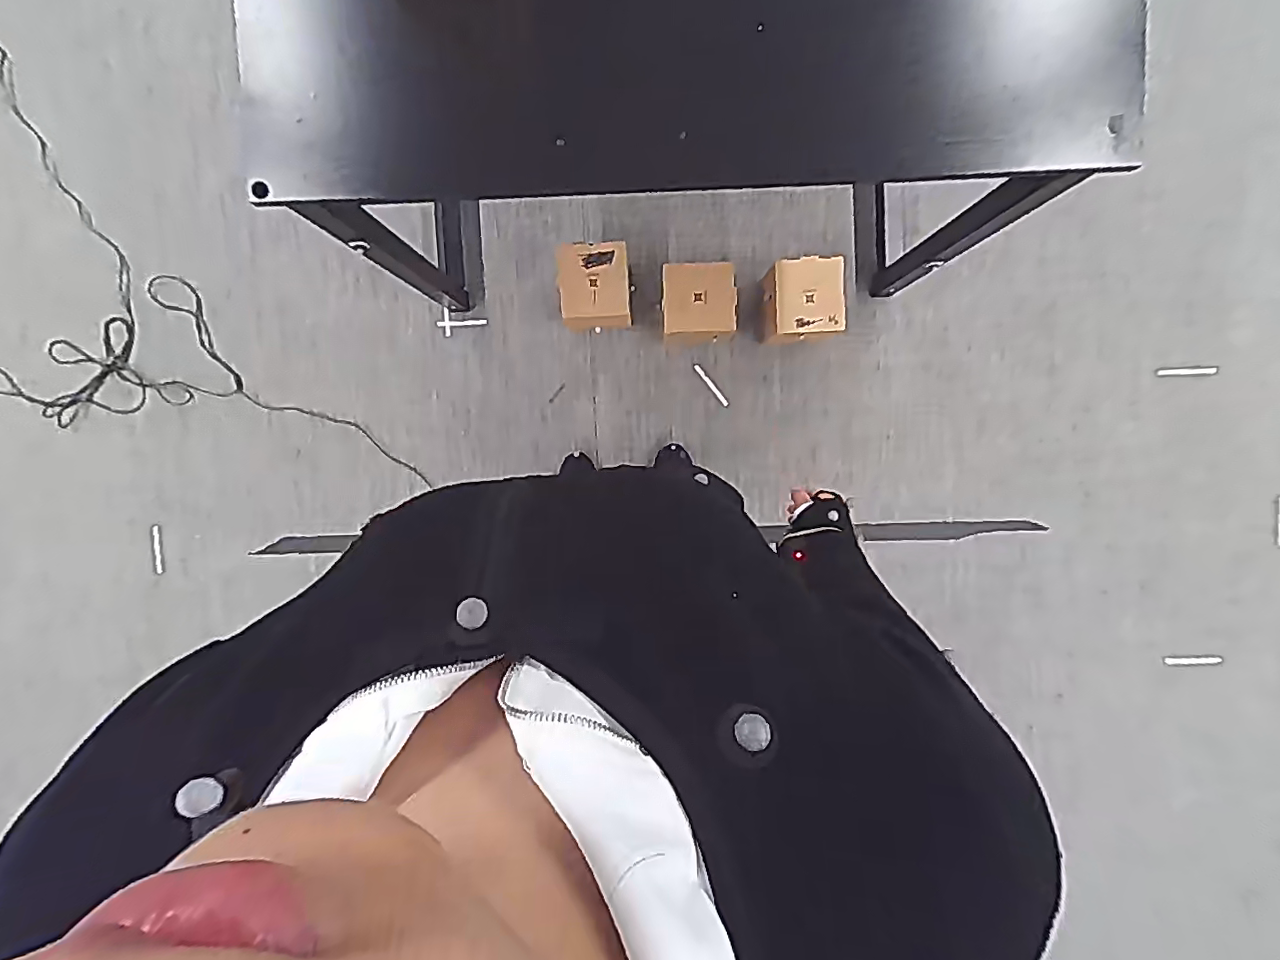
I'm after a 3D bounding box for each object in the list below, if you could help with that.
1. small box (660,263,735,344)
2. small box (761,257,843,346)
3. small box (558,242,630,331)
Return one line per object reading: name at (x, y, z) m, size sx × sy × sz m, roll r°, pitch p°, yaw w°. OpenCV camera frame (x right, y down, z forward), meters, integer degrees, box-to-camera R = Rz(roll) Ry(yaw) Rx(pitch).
small box at (0.142, -0.445, 1.381) m, size 0.179 × 0.176 × 0.168 m, roll -1°, pitch 94°, yaw 2°
small box at (0.405, -0.448, 1.373) m, size 0.168 × 0.176 × 0.179 m, roll -3°, pitch 94°, yaw 2°
small box at (-0.112, -0.488, 1.380) m, size 0.168 × 0.176 × 0.179 m, roll -3°, pitch 95°, yaw 1°
